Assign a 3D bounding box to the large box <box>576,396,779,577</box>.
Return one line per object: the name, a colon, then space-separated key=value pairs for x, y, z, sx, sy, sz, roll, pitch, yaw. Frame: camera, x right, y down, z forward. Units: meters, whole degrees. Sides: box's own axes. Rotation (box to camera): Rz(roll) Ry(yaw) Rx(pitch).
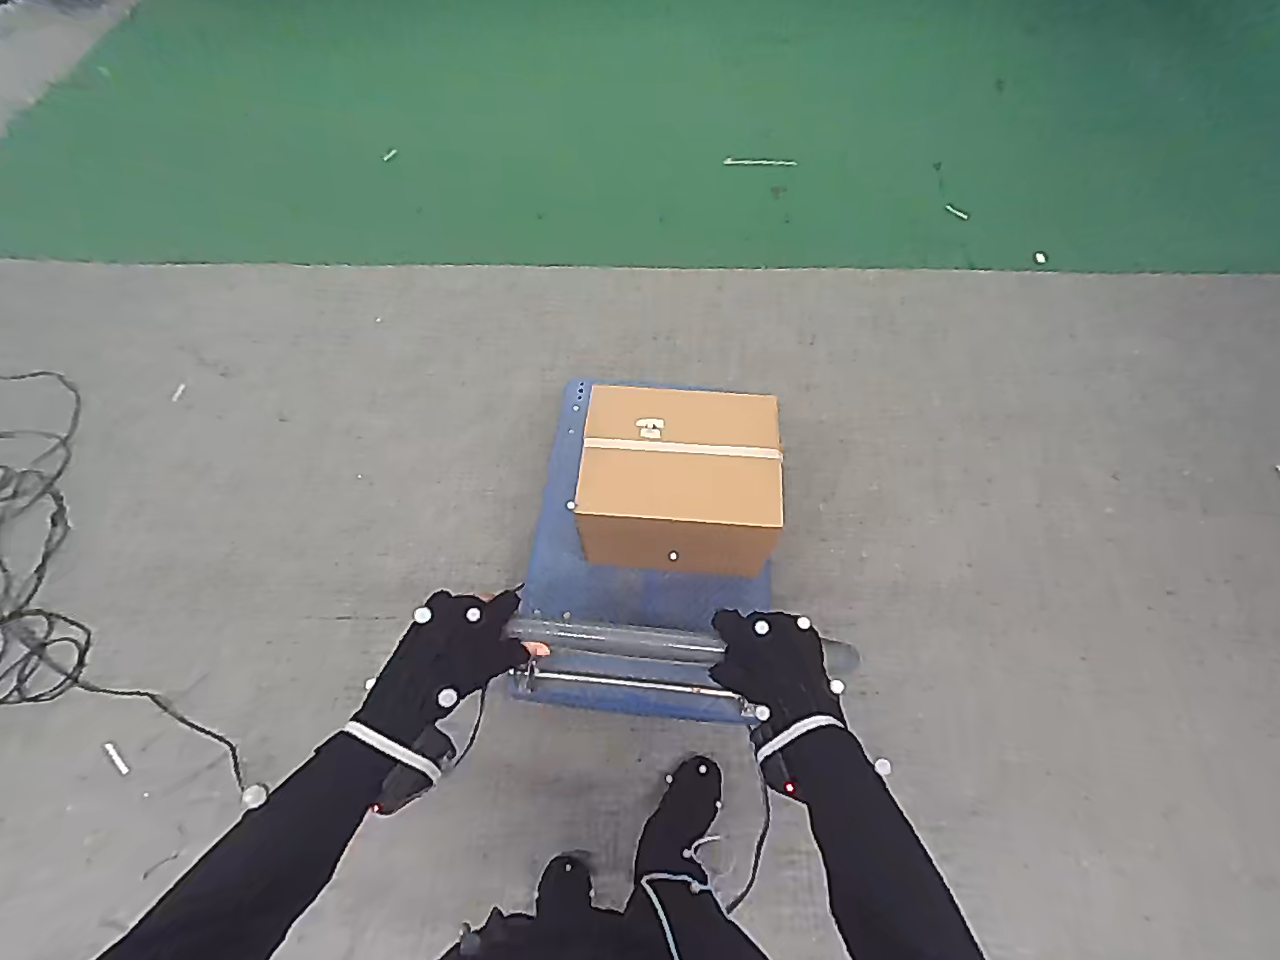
large box: x=0.085 y=0.025 z=1.249 sx=0.408 sy=0.320 sz=0.320 roll=3 pitch=60 yaw=3
